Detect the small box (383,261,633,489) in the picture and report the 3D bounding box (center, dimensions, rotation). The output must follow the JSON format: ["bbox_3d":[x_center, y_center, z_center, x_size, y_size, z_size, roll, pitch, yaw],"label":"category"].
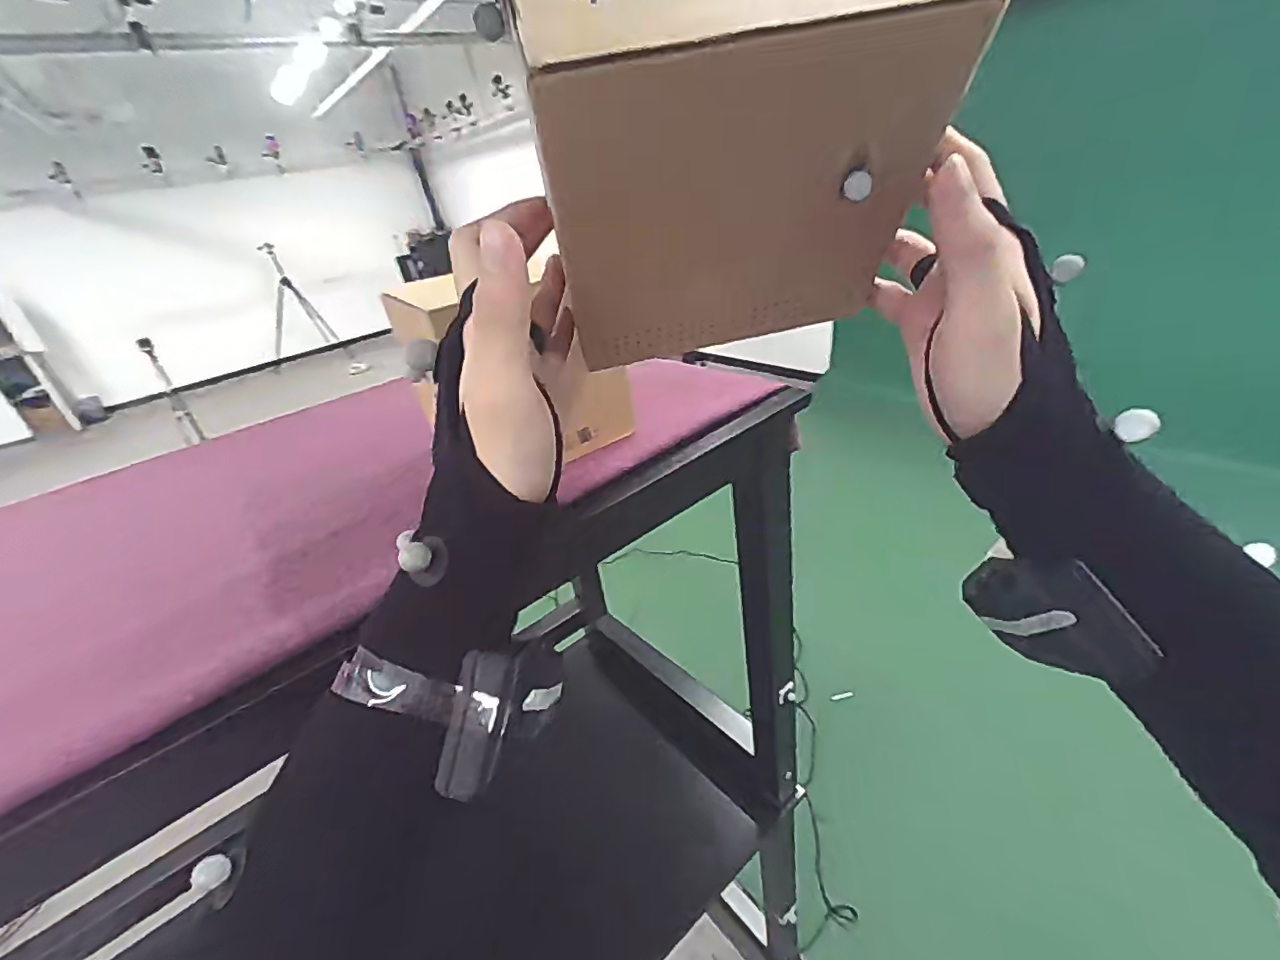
[{"bbox_3d":[-0.128,-0.112,0.540,0.168,0.176,0.179,-27,33,-25],"label":"small box"}]
